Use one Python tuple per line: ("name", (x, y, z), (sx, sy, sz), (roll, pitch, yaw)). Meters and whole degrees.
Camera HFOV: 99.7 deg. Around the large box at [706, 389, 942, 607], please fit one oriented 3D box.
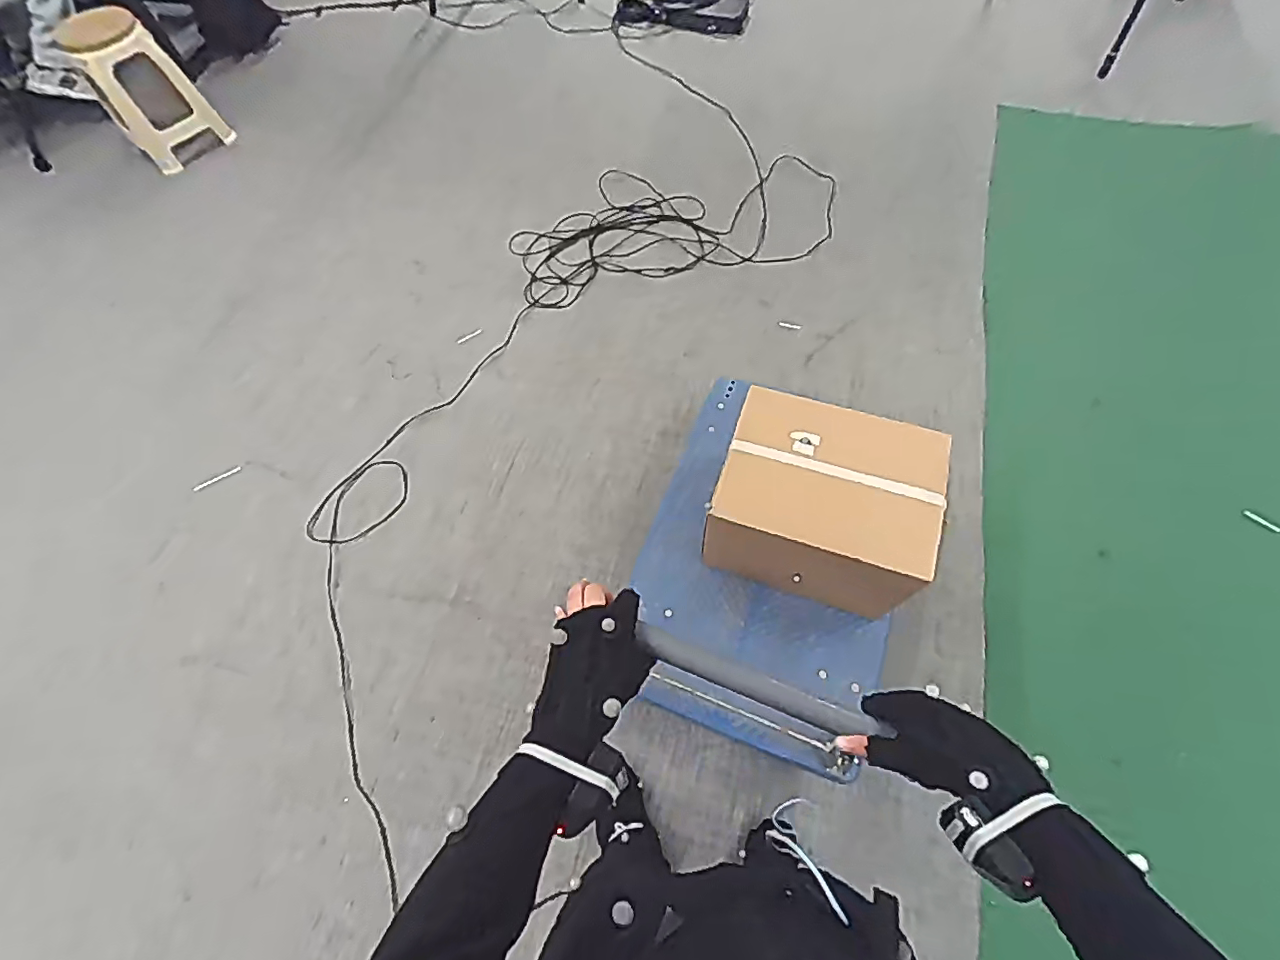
("large box", (0.379, 0.049, 1.183), (0.408, 0.320, 0.320), (15, 66, 13))
